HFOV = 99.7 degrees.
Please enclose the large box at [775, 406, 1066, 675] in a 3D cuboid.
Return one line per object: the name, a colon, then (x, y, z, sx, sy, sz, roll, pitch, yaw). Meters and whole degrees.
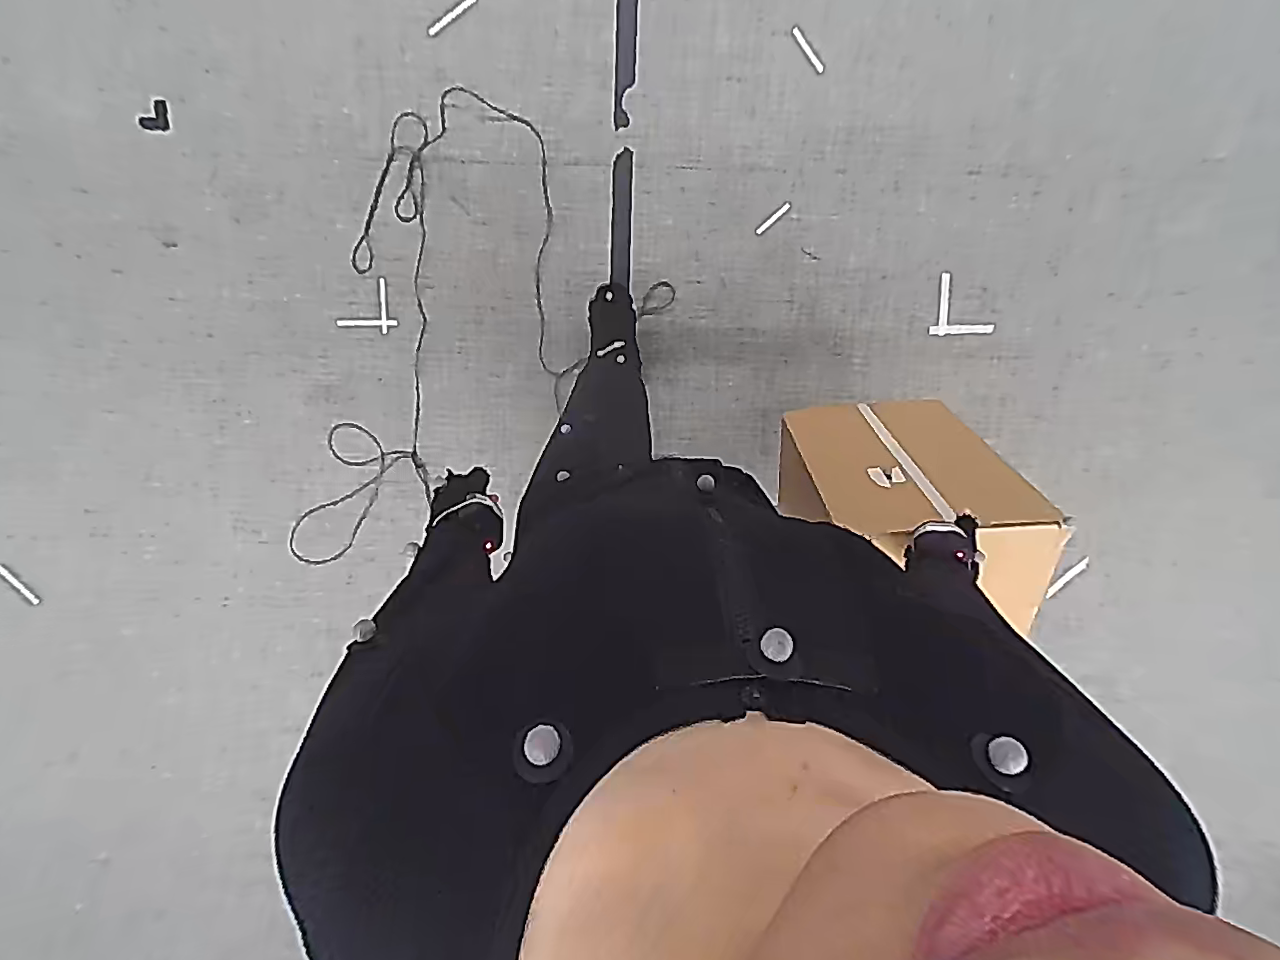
large box: (0.454, 0.094, 1.006, 0.320, 0.408, 0.320, -5, 124, 3)
